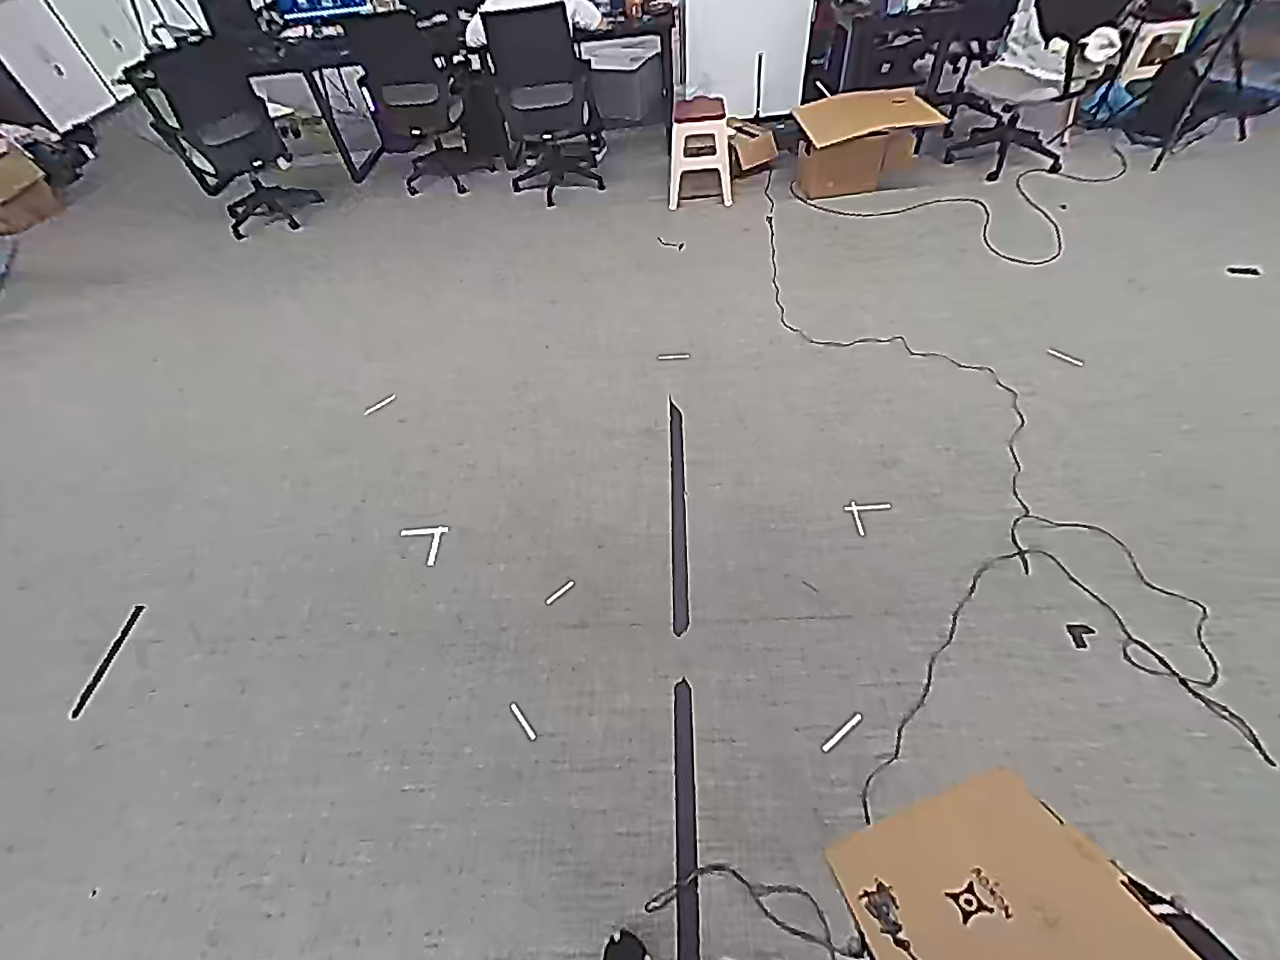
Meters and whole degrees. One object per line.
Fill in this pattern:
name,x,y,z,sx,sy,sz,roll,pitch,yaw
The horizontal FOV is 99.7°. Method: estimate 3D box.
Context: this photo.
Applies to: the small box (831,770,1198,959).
small box,0.283,0.378,0.417,0.179,0.176,0.168,-24,14,1
